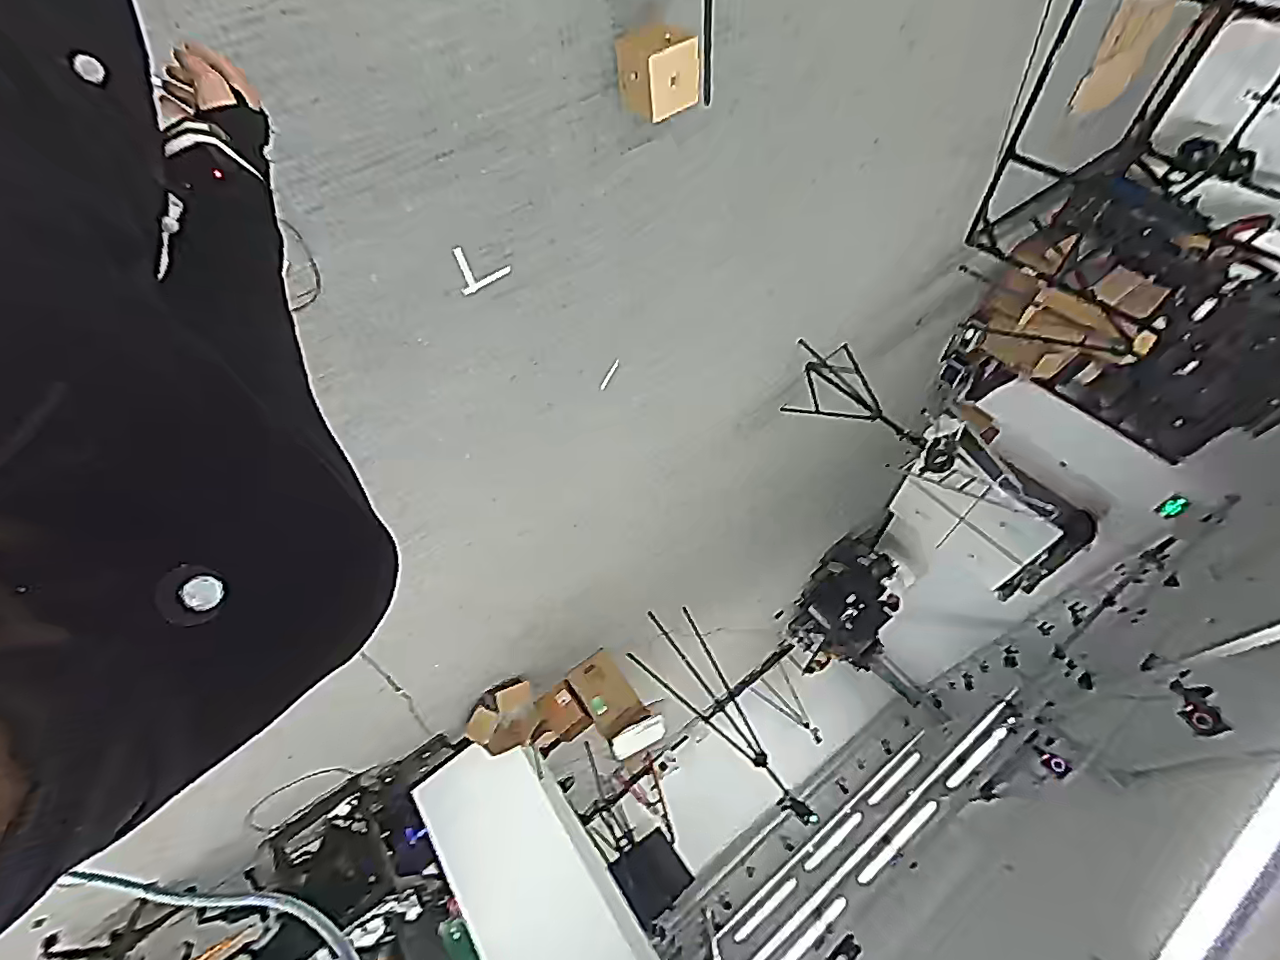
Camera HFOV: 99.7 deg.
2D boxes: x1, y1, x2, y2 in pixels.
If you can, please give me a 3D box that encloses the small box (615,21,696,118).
[{"bbox_3d":[0.041,-1.192,1.567,0.179,0.176,0.168,-35,150,-15],"label":"small box"}]
